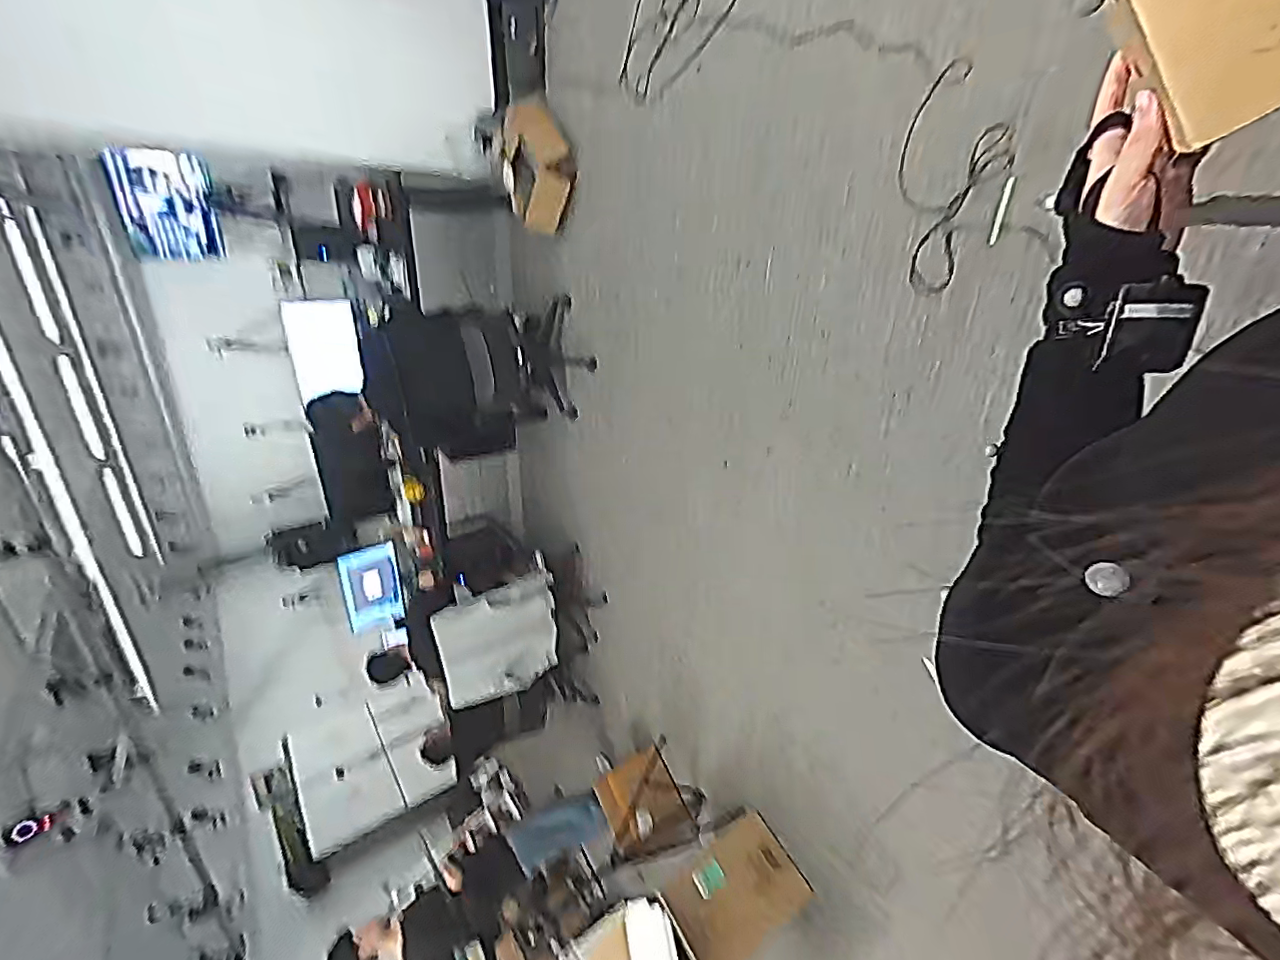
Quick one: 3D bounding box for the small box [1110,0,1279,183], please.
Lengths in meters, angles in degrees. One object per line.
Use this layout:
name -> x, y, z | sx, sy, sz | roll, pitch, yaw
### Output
small box -> 0.330, -0.272, 0.211 | 0.168, 0.176, 0.179 | -25, 79, 27
